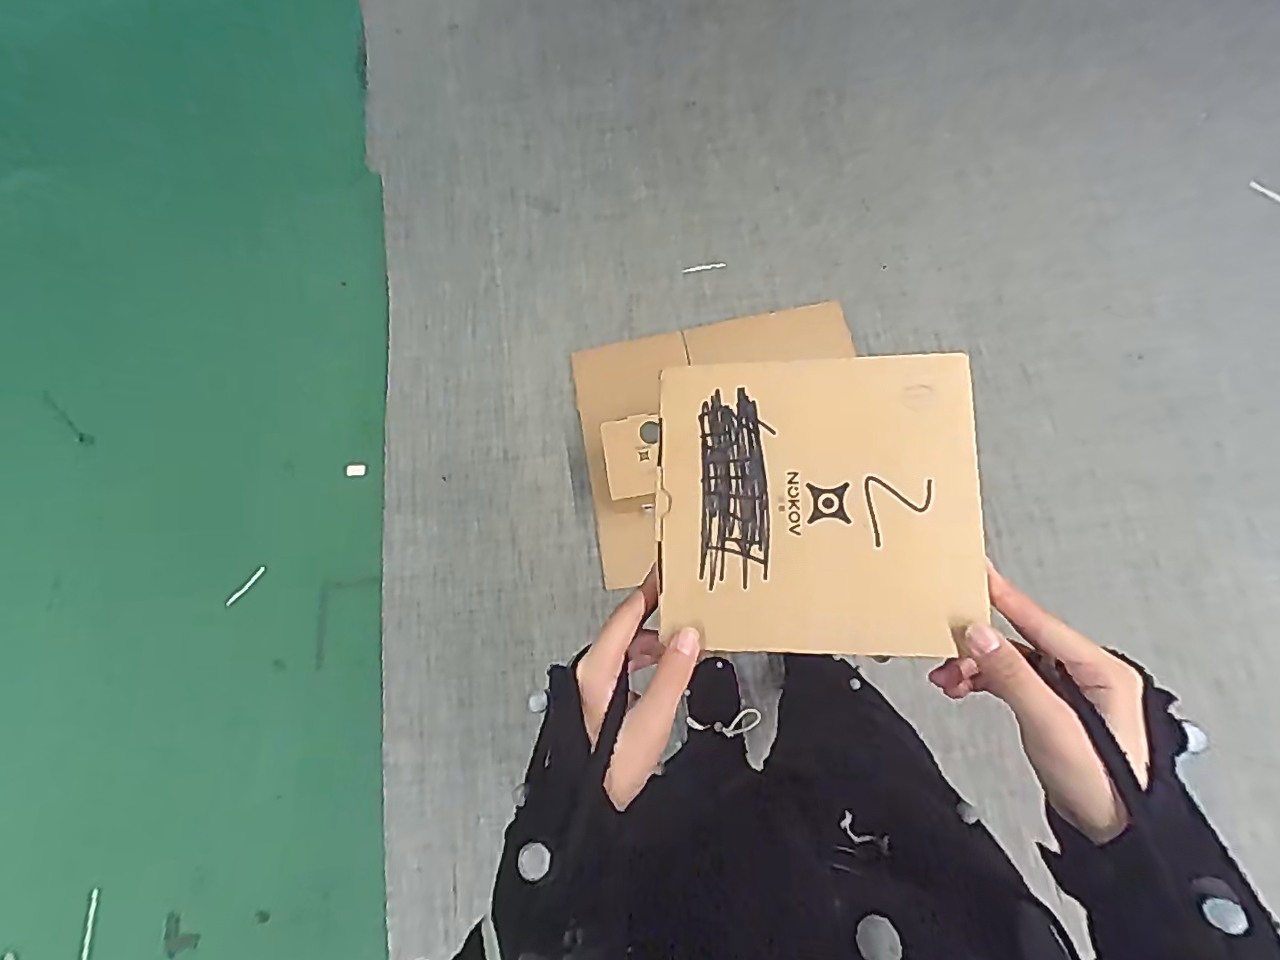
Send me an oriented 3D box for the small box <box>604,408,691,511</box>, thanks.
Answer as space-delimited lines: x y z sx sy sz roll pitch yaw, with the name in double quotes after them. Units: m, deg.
0.019 -0.040 1.209 0.168 0.176 0.179 -10 77 3 "small box"
